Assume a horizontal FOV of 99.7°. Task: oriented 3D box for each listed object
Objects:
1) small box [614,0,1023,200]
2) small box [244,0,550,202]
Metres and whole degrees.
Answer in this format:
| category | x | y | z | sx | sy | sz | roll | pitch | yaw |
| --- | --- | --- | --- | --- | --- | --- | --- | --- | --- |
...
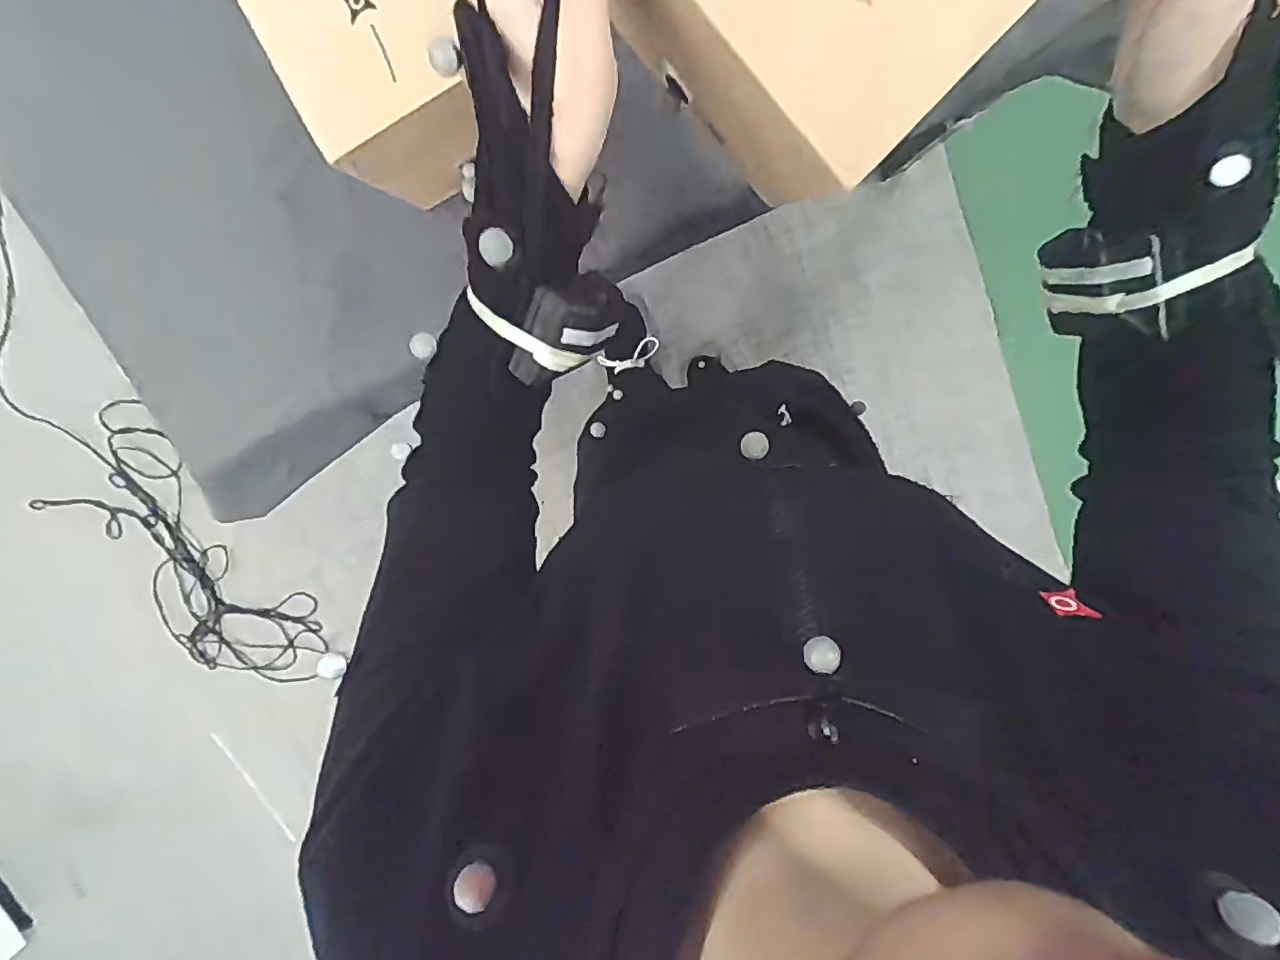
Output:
| category | x | y | z | sx | sy | sz | roll | pitch | yaw |
| --- | --- | --- | --- | --- | --- | --- | --- | --- | --- |
| small box | 0.092 | -0.271 | 0.266 | 0.168 | 0.176 | 0.179 | 40 | 110 | -14 |
| small box | -0.201 | -0.379 | 0.470 | 0.168 | 0.176 | 0.179 | -23 | 102 | 11 |
